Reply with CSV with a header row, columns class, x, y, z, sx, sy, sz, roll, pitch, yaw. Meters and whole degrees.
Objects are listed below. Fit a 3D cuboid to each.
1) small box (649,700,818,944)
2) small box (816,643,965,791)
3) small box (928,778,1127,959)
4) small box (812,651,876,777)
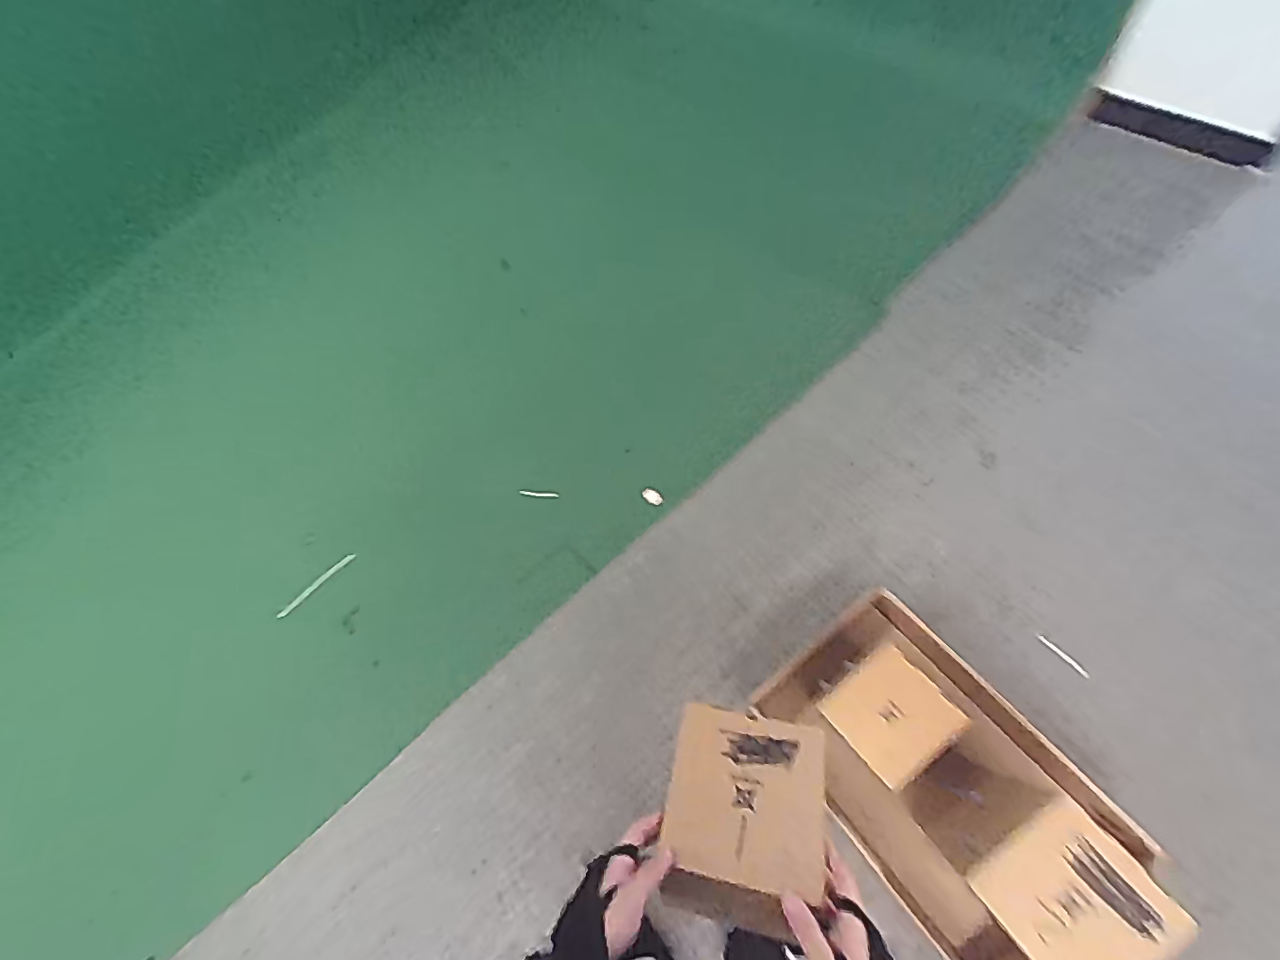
class,x,y,z,sx,sy,sz,roll,pitch,yaw
small box,0.108,0.393,0.628,0.168,0.176,0.179,7,41,12
small box,0.442,0.427,0.983,0.179,0.176,0.168,-41,63,-4
small box,0.595,0.605,0.862,0.179,0.176,0.168,-40,60,-3
small box,0.481,0.484,1.129,0.179,0.176,0.168,-40,64,-3
